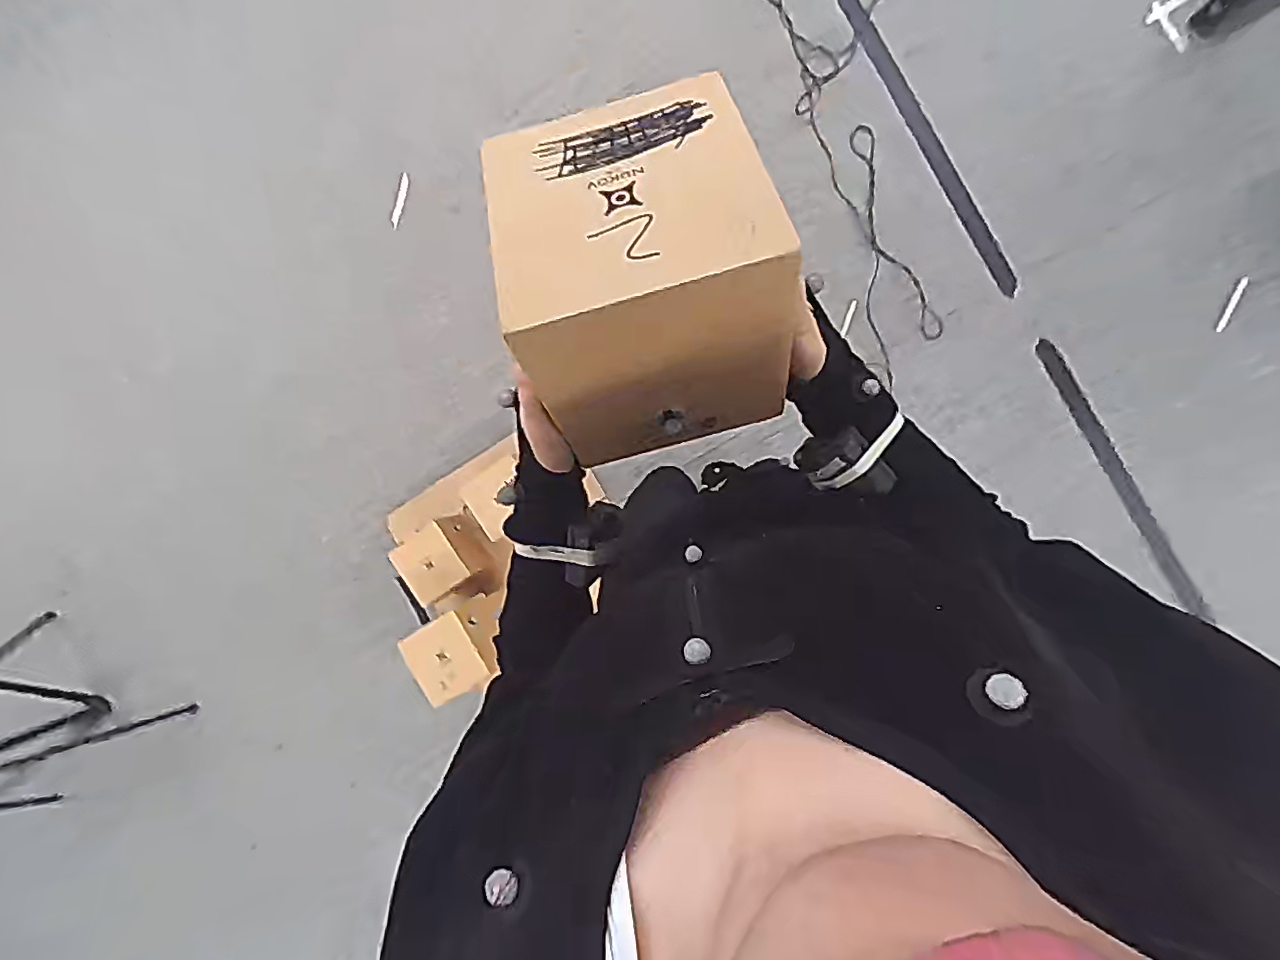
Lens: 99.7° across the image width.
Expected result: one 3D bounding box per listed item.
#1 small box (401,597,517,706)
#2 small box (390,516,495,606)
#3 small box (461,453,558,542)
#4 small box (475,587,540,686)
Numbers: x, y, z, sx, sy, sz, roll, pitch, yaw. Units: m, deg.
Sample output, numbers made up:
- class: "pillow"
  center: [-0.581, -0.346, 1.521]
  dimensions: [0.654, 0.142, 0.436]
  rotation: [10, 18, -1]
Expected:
- class: "small box"
  center: [-0.430, 0.401, 1.307]
  dimensions: [0.168, 0.176, 0.179]
  rotation: [-32, 88, 8]
- class: "small box"
  center: [-0.534, 0.213, 1.483]
  dimensions: [0.168, 0.176, 0.179]
  rotation: [-36, 88, 7]
- class: "small box"
  center: [-0.338, 0.041, 1.453]
  dimensions: [0.179, 0.176, 0.168]
  rotation: [-35, 88, 7]
- class: "small box"
  center: [-0.398, 0.416, 1.470]
  dimensions: [0.168, 0.176, 0.179]
  rotation: [-36, 88, 6]
